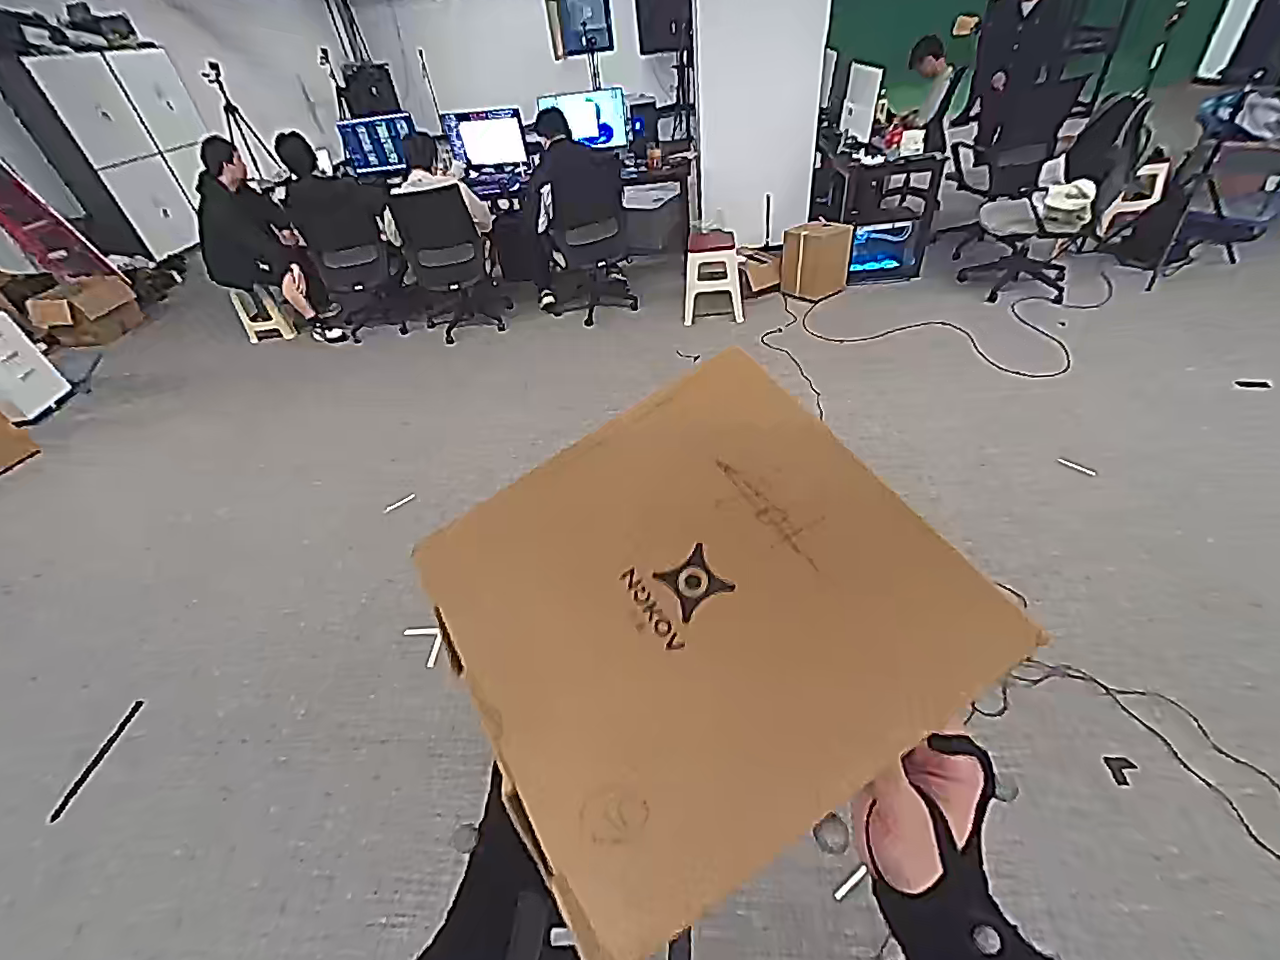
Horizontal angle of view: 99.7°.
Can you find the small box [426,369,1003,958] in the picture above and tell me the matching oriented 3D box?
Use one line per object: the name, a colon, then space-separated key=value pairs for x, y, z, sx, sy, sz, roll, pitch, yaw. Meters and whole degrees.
small box: x=0.030 y=0.085 z=0.285 sx=0.179 sy=0.176 sz=0.168 roll=-34 pitch=62 yaw=-8
